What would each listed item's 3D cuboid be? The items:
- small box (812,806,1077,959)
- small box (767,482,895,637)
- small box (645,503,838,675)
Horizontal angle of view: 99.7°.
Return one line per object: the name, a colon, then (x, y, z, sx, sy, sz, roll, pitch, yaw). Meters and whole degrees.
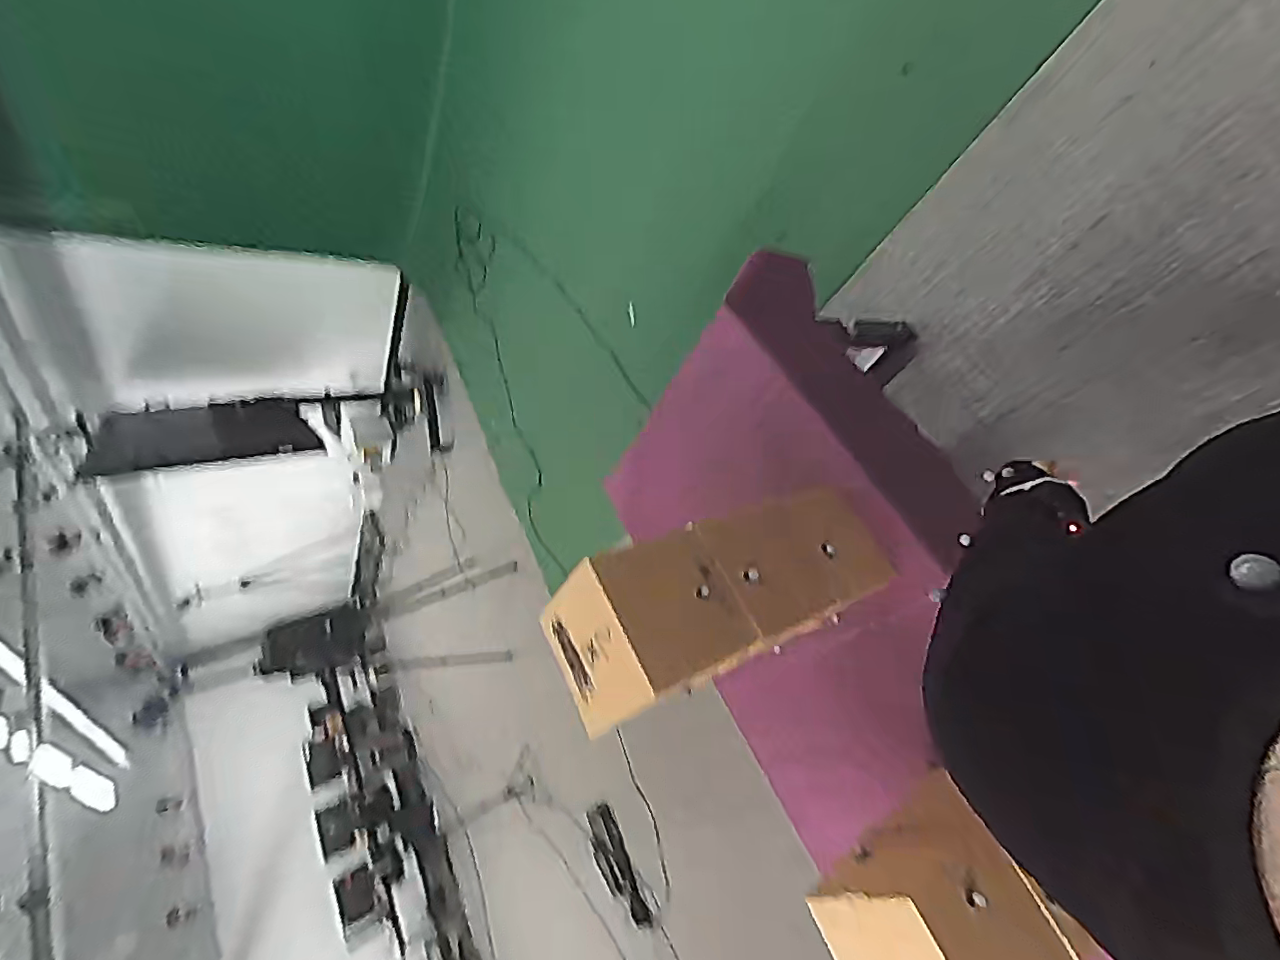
small box: (0.344, 0.502, 0.621, 0.179, 0.176, 0.168, 61, 140, 20)
small box: (0.272, 0.124, 0.881, 0.179, 0.176, 0.168, 61, 140, 22)
small box: (0.144, 0.148, 0.785, 0.179, 0.176, 0.168, 59, 139, 22)
